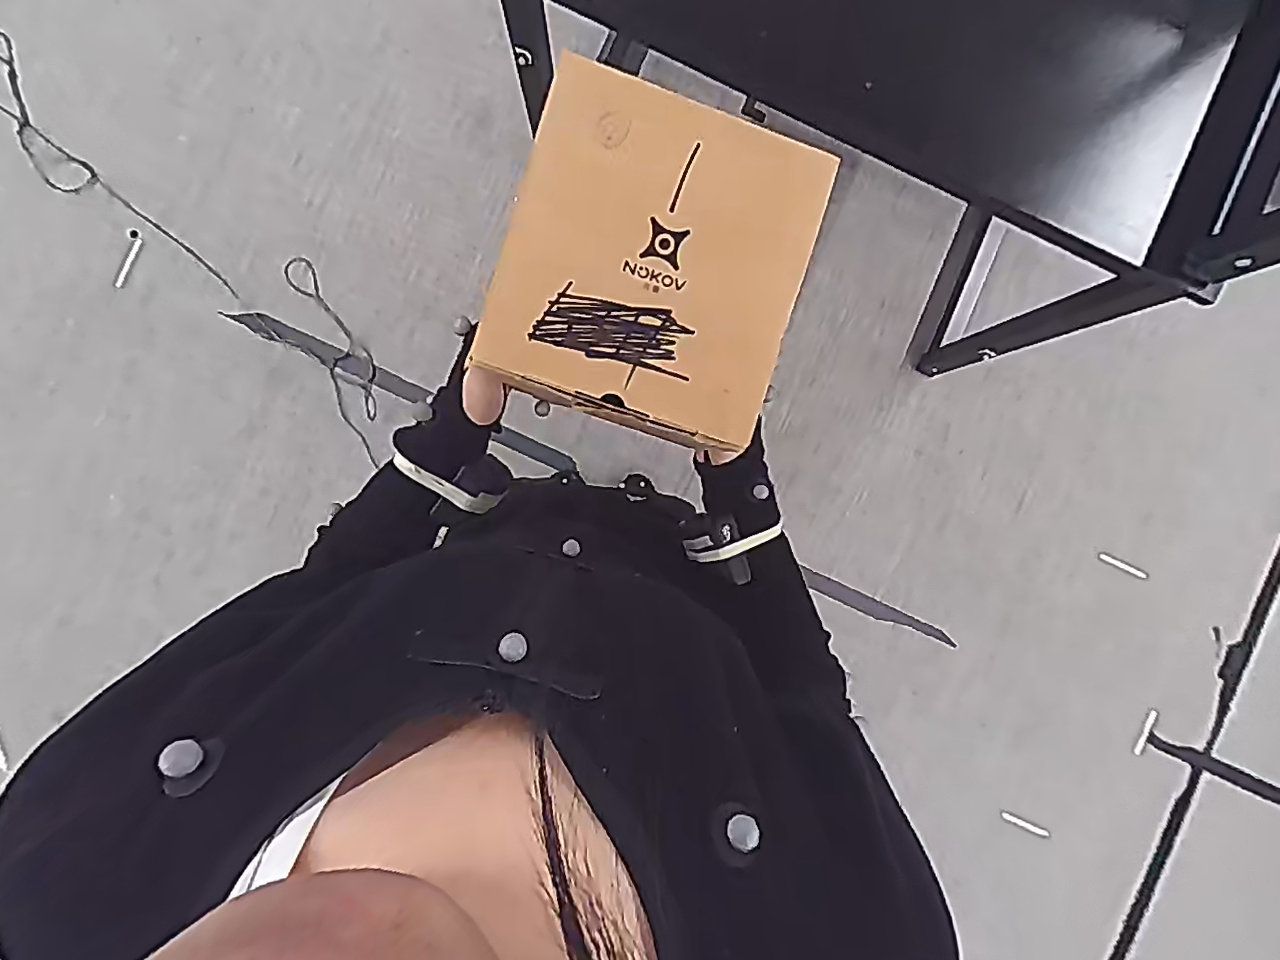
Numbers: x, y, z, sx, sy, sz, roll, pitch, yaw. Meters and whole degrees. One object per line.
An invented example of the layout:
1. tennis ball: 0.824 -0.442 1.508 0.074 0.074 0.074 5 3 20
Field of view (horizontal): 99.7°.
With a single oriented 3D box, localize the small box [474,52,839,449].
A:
1. small box: 0.004 -0.128 0.379 0.168 0.176 0.179 17 92 -6
